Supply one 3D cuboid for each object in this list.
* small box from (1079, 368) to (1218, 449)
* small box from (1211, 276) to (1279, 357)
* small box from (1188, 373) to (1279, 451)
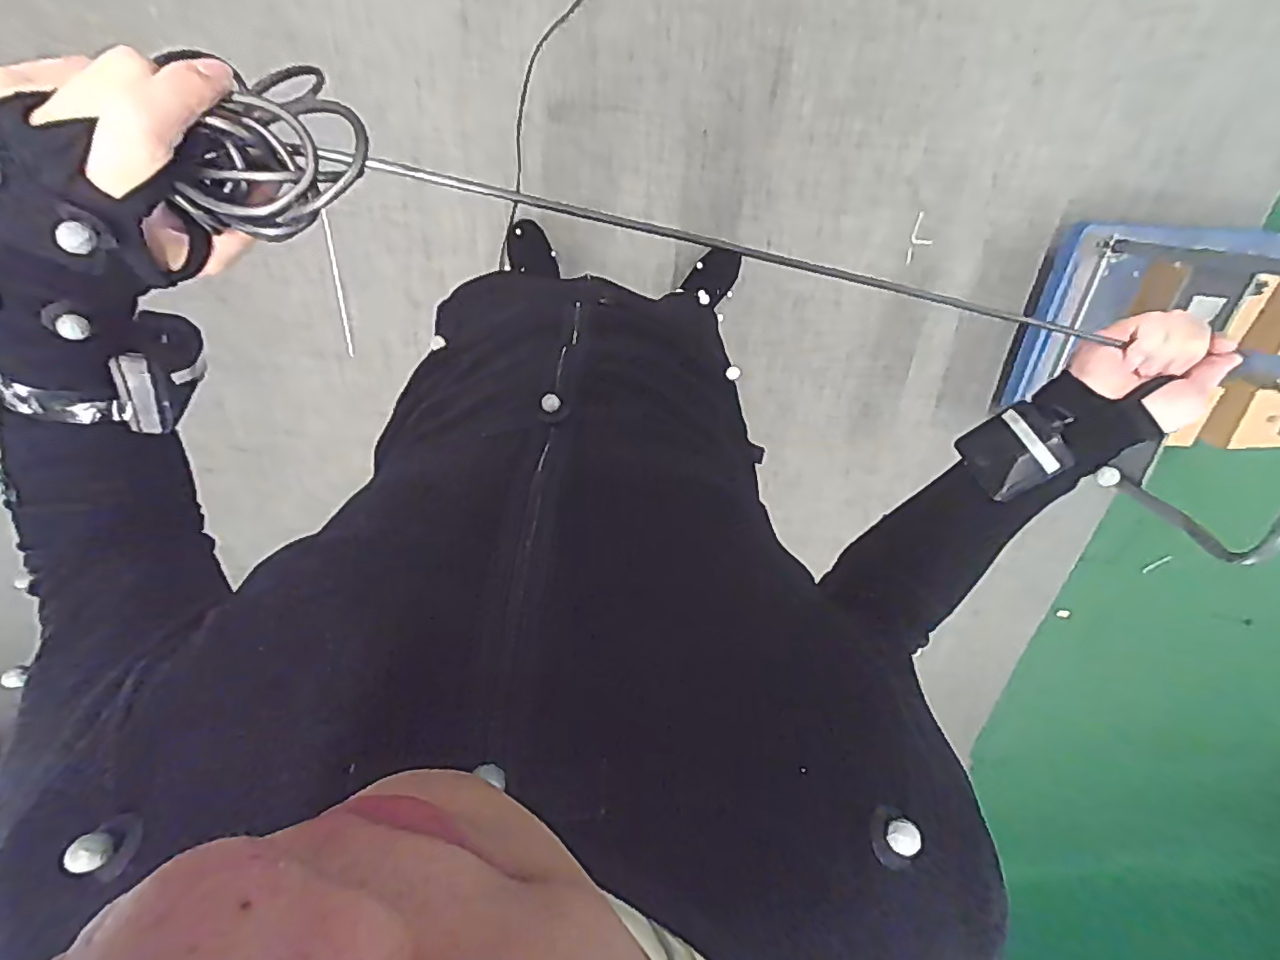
[{"bbox_3d":[1.351,-0.196,1.451,0.179,0.176,0.168,3,118,-4],"label":"small box"},{"bbox_3d":[1.617,-0.411,1.353,0.179,0.176,0.168,-2,119,-3],"label":"small box"},{"bbox_3d":[1.620,-0.189,1.472,0.179,0.176,0.168,-1,118,-2],"label":"small box"}]
